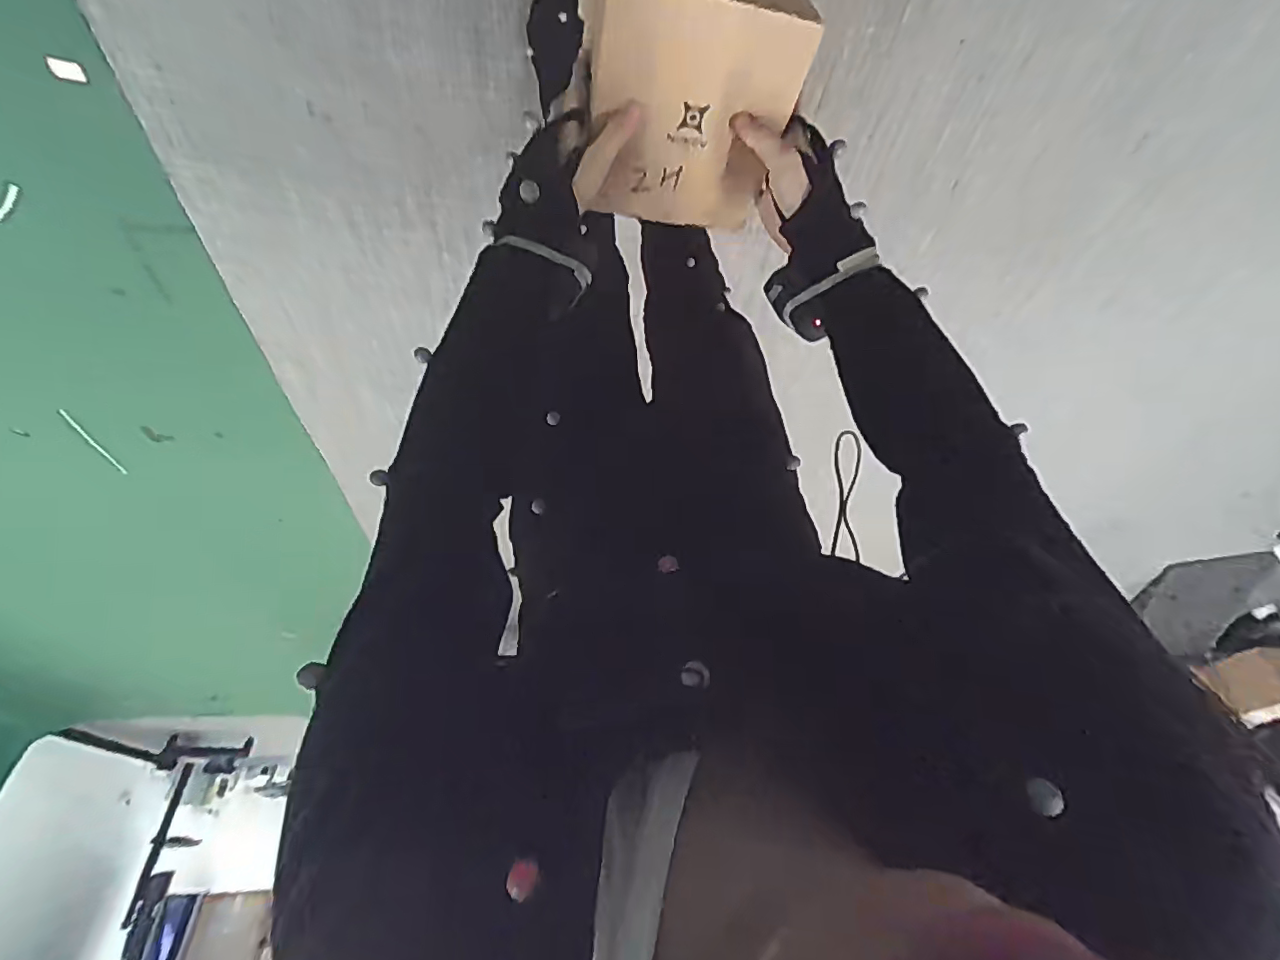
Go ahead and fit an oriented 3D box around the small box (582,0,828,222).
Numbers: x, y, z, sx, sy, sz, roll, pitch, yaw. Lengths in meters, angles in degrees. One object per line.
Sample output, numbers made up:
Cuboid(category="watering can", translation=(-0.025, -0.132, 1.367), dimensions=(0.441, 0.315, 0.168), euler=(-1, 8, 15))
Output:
Cuboid(category="small box", translation=(0.039, -0.379, 0.501), dimensions=(0.168, 0.176, 0.179), euler=(3, 148, -14))
